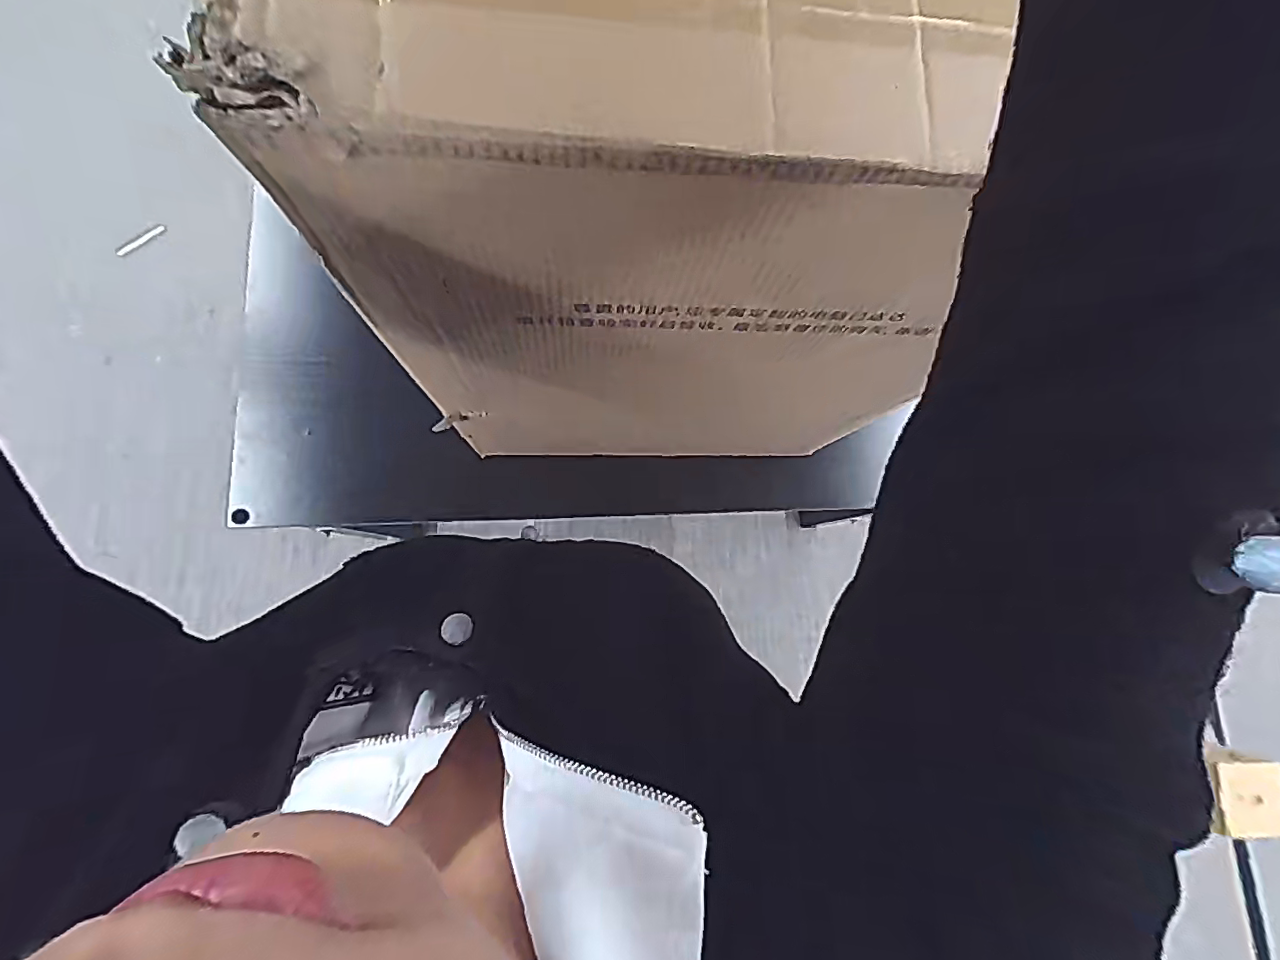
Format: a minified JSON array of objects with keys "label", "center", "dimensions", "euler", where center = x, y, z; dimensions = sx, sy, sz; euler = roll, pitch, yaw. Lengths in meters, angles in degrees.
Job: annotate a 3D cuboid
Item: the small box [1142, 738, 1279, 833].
[{"label":"small box","center":[1.444,0.768,1.375],"dimensions":[0.179,0.176,0.168],"euler":[3,80,-6]}]
